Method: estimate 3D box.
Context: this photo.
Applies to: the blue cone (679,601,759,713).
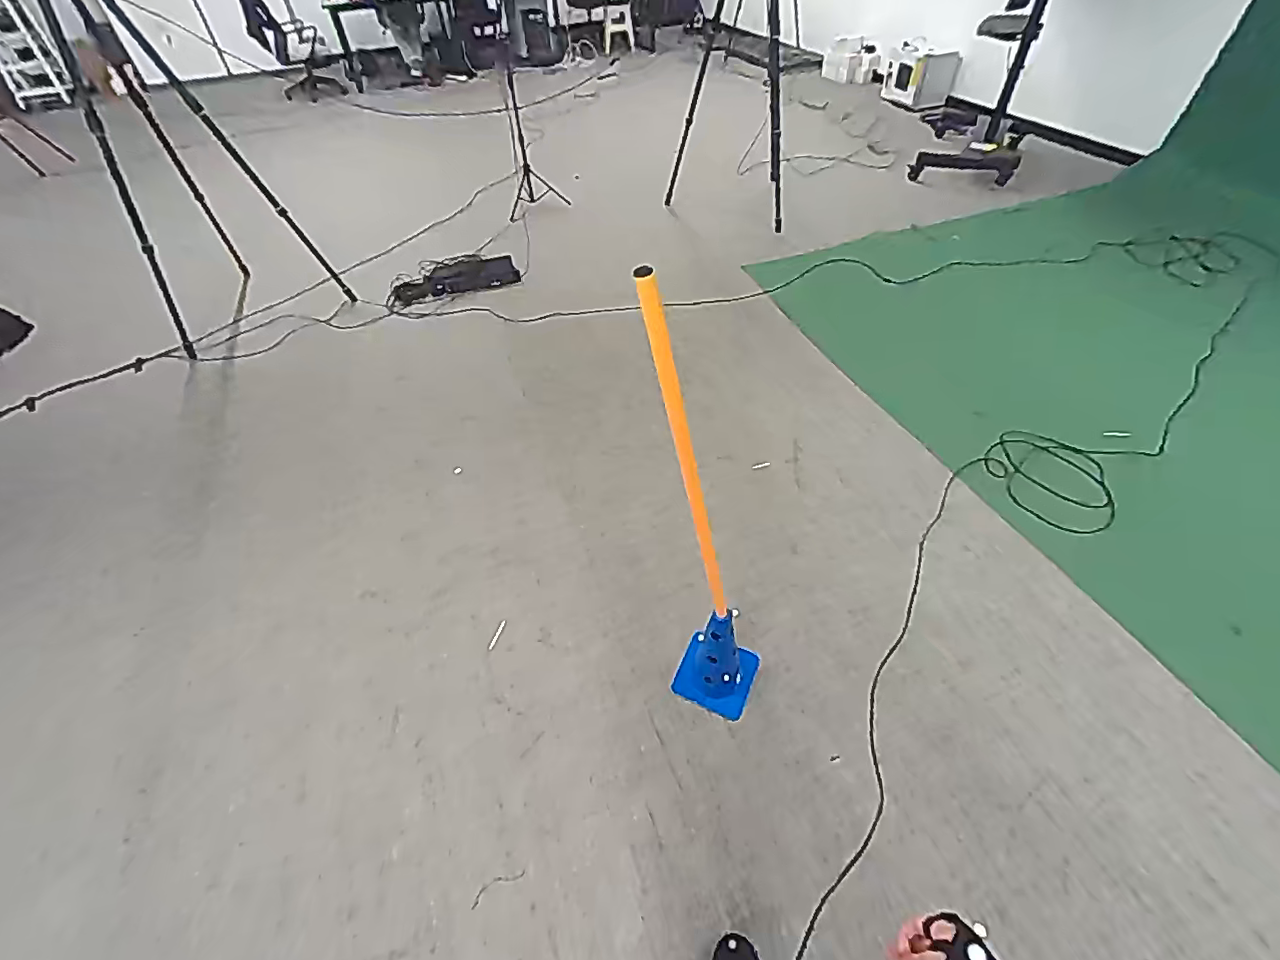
[{"bbox_3d":[0.201,0.418,1.348,0.193,0.380,0.192,15,53,19],"label":"blue cone"}]
